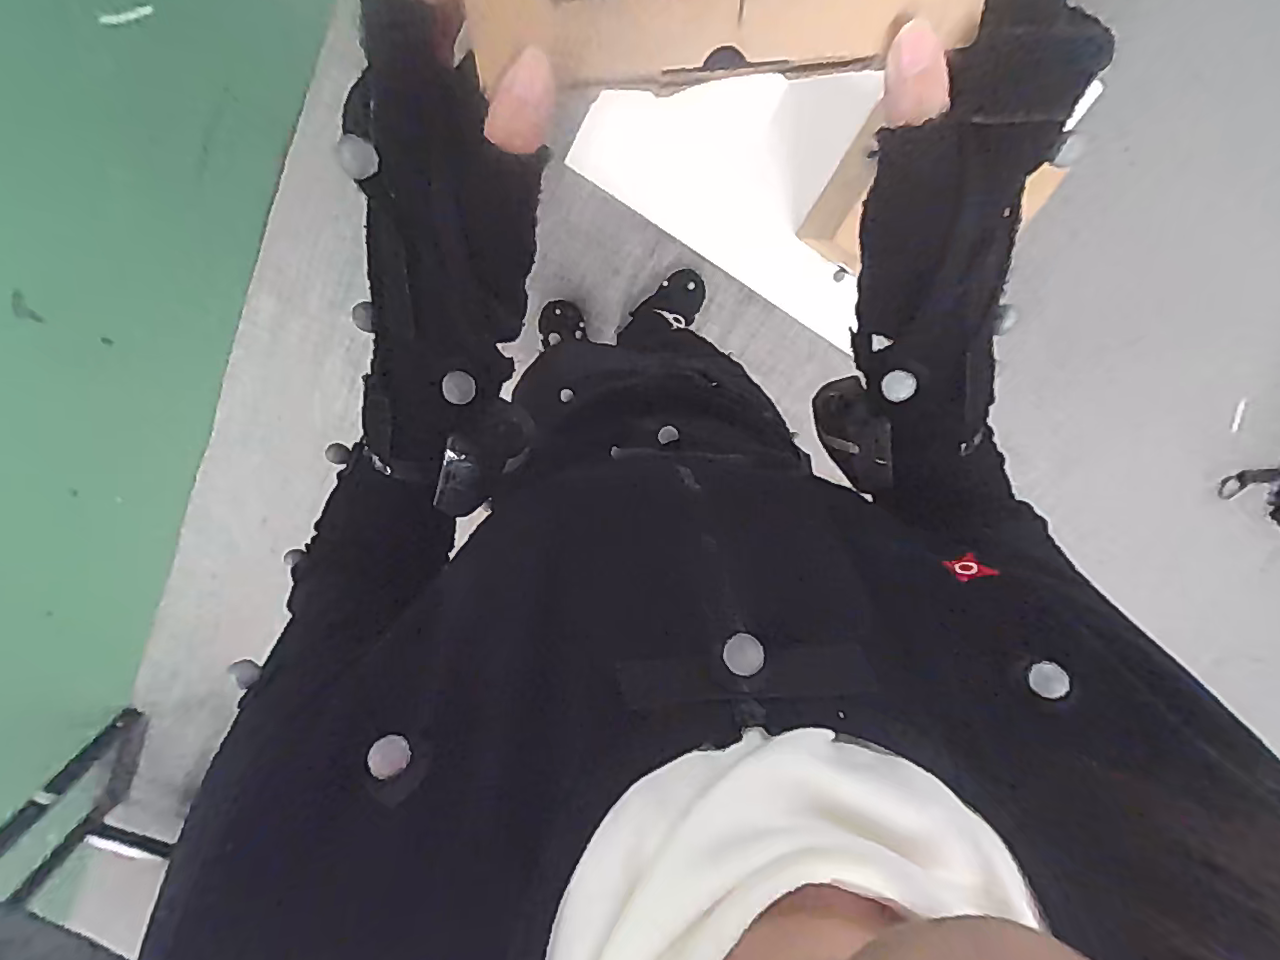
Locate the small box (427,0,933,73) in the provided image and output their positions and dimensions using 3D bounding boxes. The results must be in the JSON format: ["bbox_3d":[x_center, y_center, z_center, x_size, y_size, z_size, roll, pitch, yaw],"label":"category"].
[{"bbox_3d":[0.007,-0.261,0.184,0.168,0.176,0.179,-5,130,1],"label":"small box"}]

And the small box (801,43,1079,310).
[{"bbox_3d":[0.304,-0.319,0.595,0.168,0.176,0.179,27,115,-11],"label":"small box"}]
